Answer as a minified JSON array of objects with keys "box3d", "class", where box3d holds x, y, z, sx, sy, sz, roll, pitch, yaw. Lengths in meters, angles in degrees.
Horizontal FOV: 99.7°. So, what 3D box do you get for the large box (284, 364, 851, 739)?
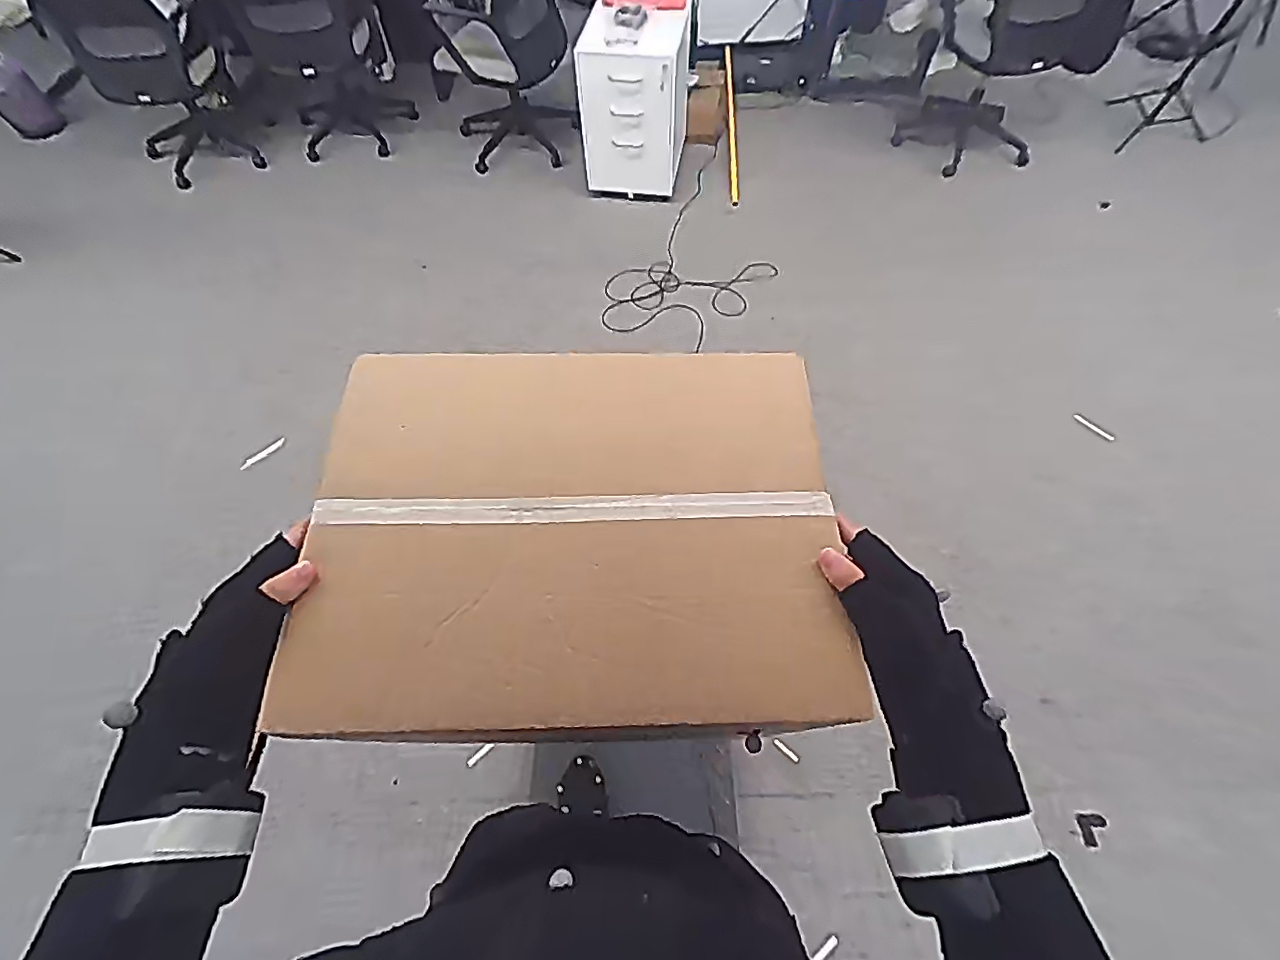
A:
[{"box3d":[-0.053,0.097,0.574,0.408,0.320,0.320,-1,62,-2],"class":"large box"}]
